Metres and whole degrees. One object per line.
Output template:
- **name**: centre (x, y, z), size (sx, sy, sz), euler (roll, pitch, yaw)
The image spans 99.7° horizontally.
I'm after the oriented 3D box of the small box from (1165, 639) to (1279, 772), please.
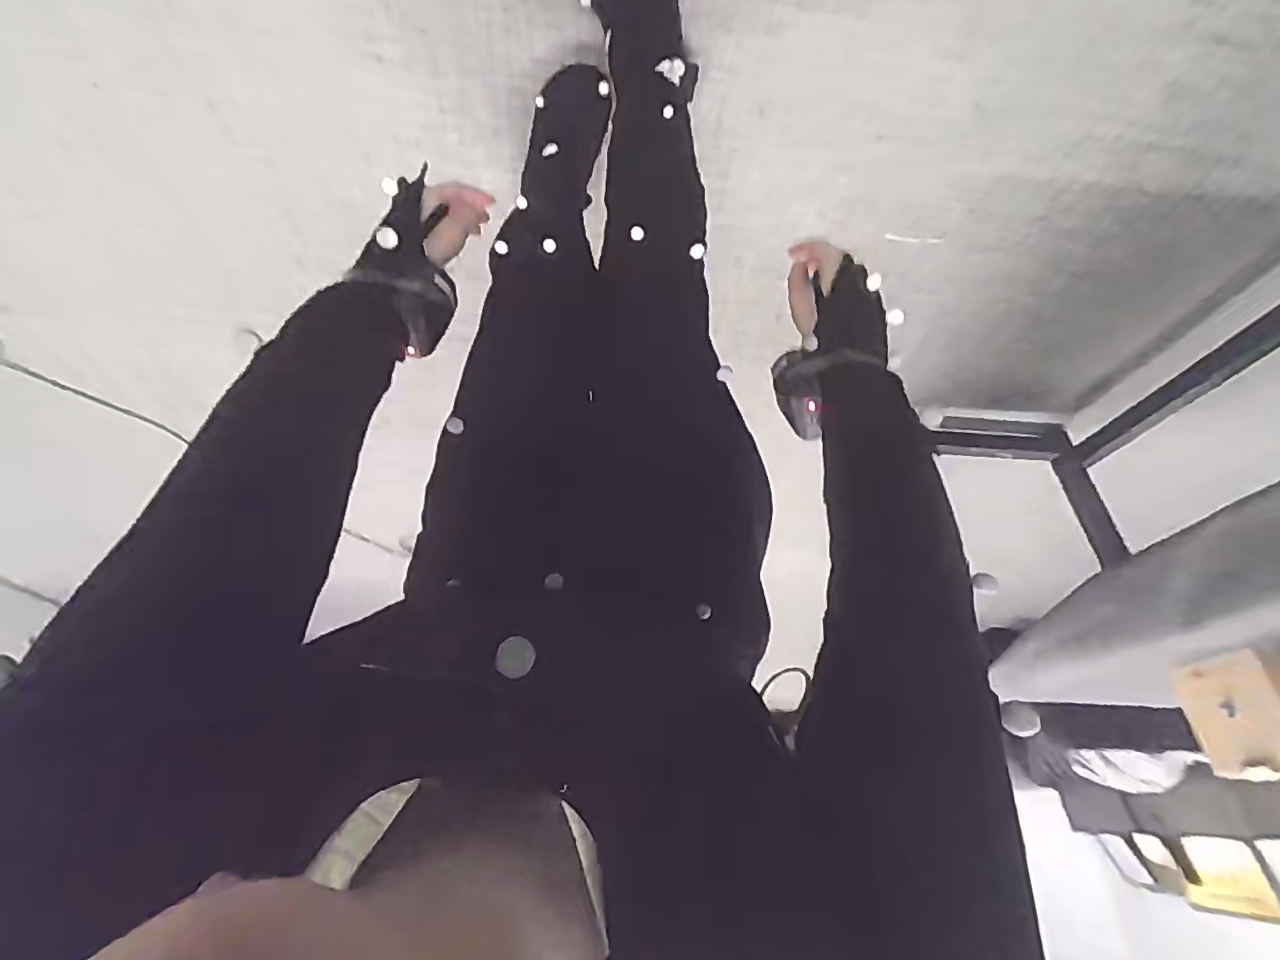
- **small box**: centre (0.988, 0.347, 0.832), size (0.179, 0.176, 0.168), euler (-1, 148, 1)
